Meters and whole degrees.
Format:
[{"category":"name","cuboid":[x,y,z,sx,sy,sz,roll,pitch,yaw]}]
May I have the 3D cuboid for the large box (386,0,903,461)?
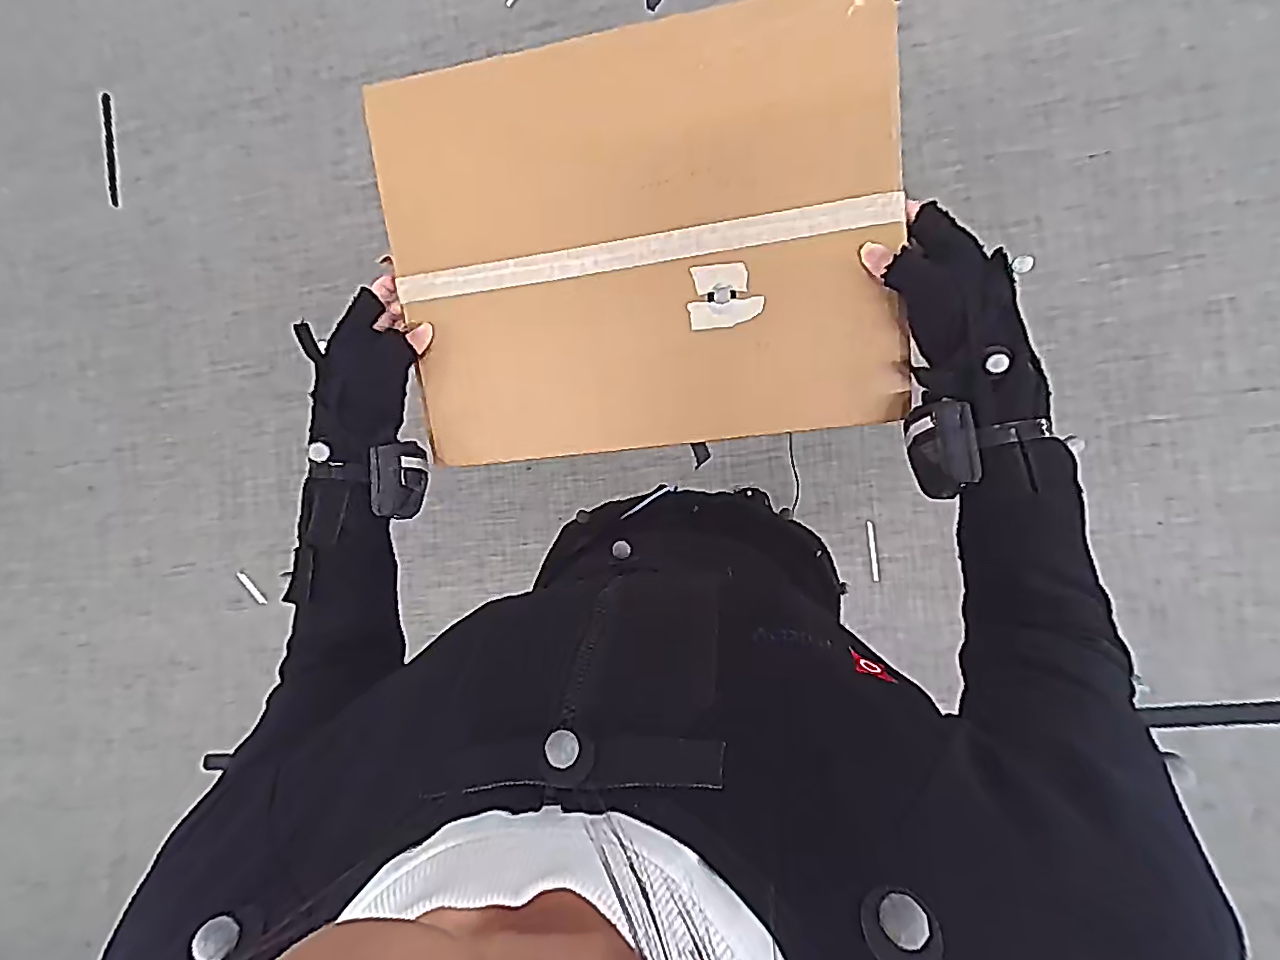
[{"category":"large box","cuboid":[0.018,-0.215,0.590,0.408,0.320,0.320,-6,101,9]}]
